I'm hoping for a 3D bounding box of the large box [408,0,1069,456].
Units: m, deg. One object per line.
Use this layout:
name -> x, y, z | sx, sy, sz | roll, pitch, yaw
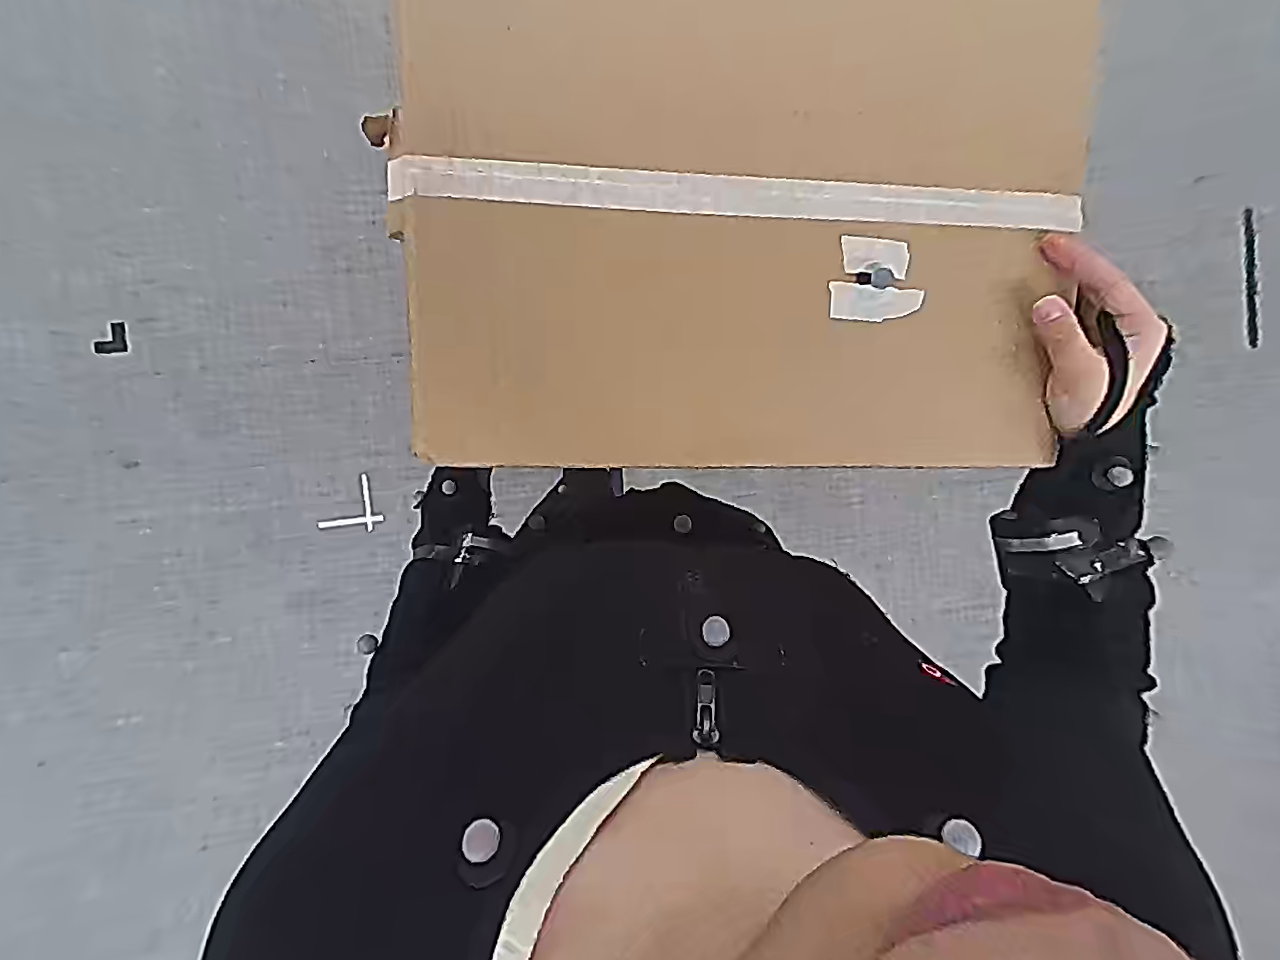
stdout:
large box -> 0.050, -0.187, 0.471 | 0.408, 0.320, 0.320 | 0, 97, -8
